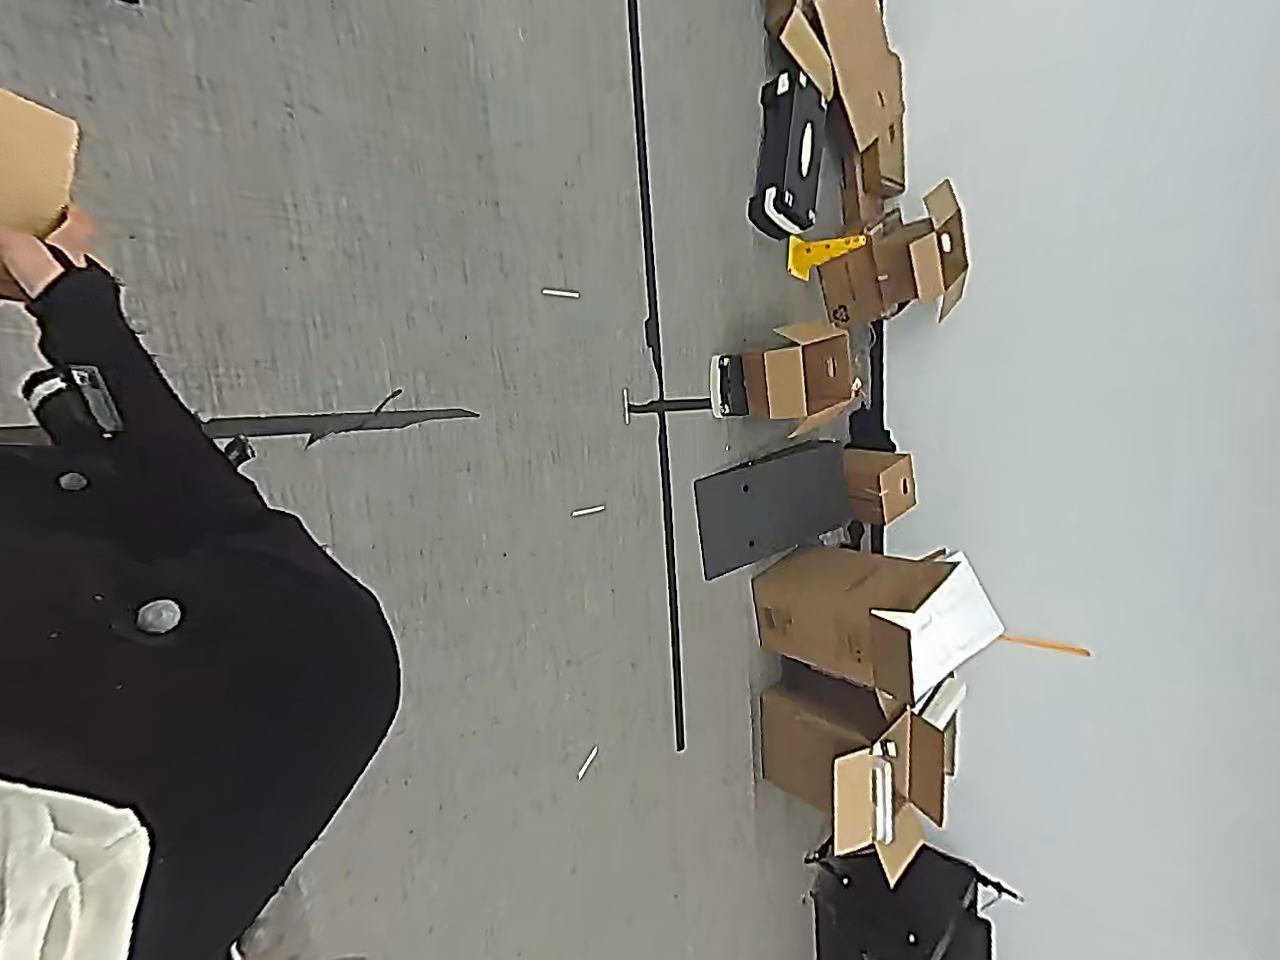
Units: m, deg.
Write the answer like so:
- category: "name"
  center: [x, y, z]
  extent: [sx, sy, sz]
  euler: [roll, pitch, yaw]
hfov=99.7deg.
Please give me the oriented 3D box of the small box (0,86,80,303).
- category: "small box"
  center: [-0.648, -0.282, 0.474]
  extent: [0.168, 0.176, 0.179]
  euler: [6, 105, -62]
